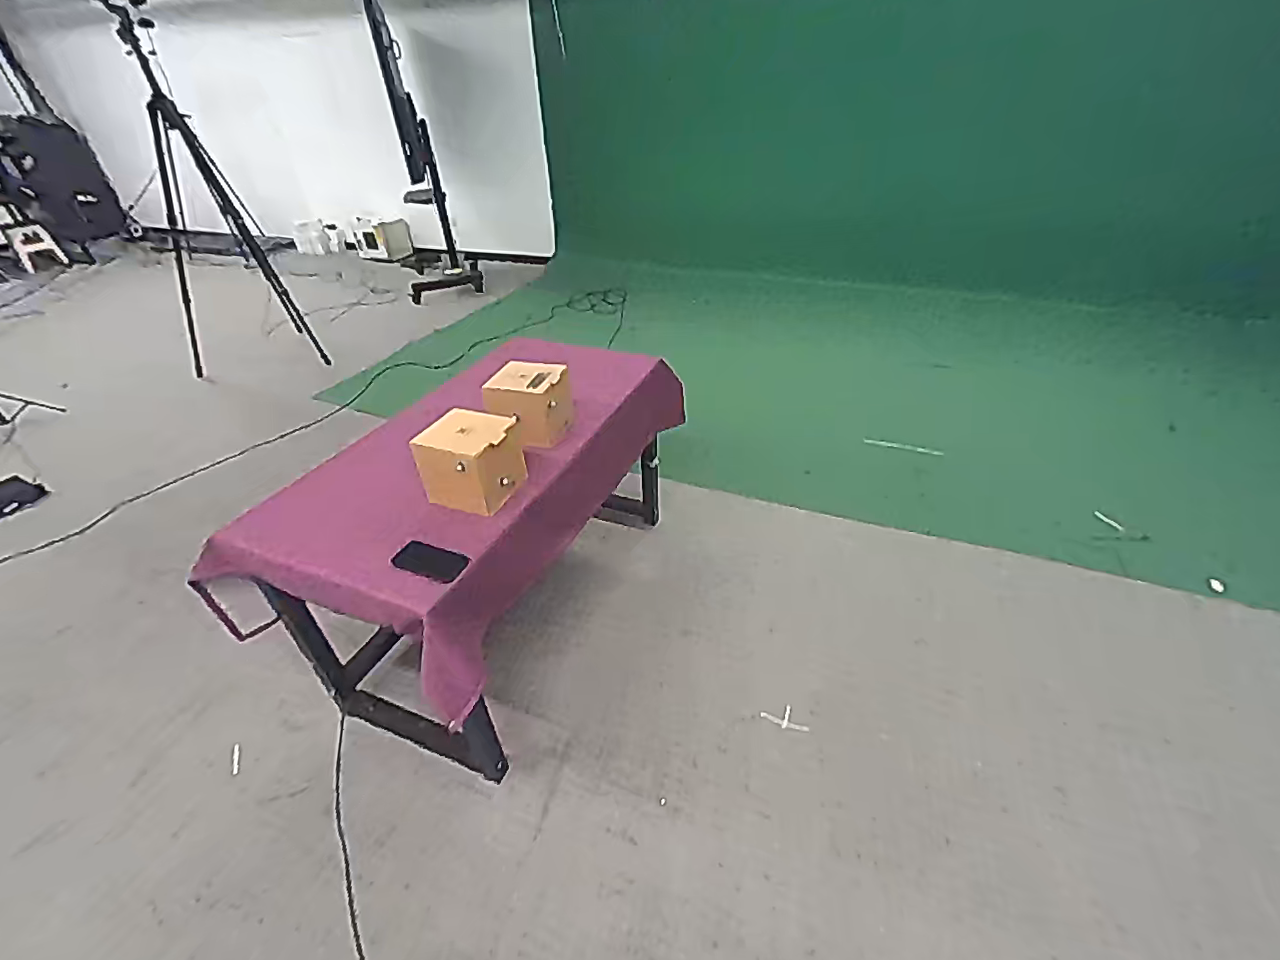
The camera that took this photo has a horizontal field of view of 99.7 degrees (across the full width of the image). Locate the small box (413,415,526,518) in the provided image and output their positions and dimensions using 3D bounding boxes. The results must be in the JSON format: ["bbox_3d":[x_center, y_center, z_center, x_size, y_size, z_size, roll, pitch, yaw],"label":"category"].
[{"bbox_3d":[-0.389,-0.031,1.261,0.179,0.176,0.168,12,38,18],"label":"small box"}]
